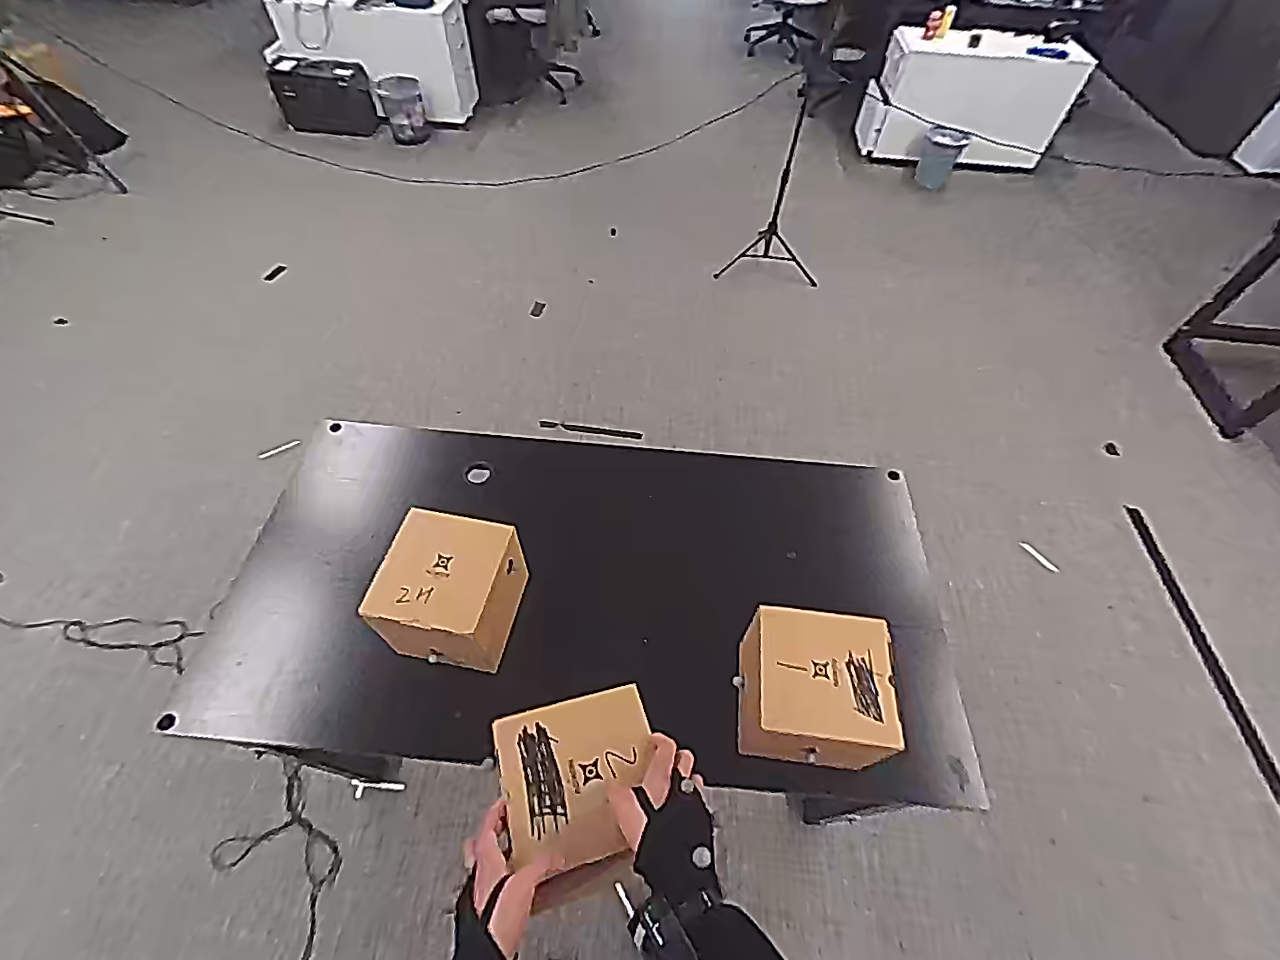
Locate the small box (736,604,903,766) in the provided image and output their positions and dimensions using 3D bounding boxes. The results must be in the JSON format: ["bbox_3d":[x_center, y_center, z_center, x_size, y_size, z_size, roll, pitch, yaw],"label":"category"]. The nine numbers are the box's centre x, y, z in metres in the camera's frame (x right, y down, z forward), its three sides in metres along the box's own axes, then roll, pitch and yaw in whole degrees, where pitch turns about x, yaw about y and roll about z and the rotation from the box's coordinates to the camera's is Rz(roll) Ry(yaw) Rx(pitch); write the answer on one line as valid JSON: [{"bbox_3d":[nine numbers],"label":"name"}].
[{"bbox_3d":[0.239,0.293,0.762,0.179,0.176,0.168,6,54,4],"label":"small box"}]

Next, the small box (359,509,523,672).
[{"bbox_3d":[-0.286,0.172,0.830,0.168,0.176,0.179,9,55,5],"label":"small box"}]
